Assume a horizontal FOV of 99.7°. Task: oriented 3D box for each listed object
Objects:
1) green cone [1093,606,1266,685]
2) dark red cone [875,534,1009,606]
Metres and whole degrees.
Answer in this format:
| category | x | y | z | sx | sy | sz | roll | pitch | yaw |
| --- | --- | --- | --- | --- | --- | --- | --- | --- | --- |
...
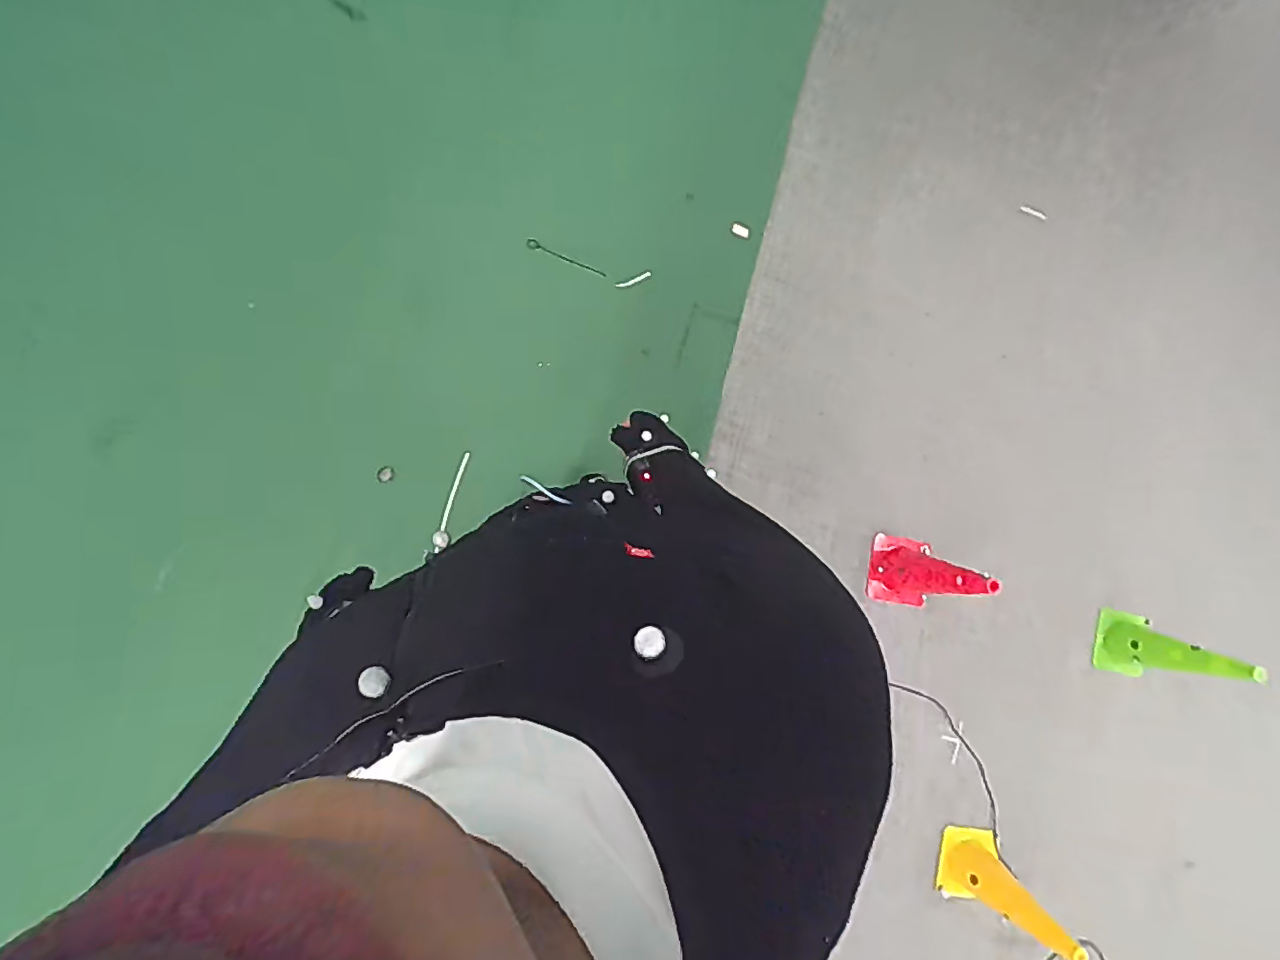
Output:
| category | x | y | z | sx | sy | sz | roll | pitch | yaw |
| --- | --- | --- | --- | --- | --- | --- | --- | --- | --- |
| green cone | 1.618 | 0.525 | 1.613 | 0.200 | 0.368 | 0.202 | 14 | 86 | -9 |
| dark red cone | 0.826 | 0.265 | 1.461 | 0.201 | 0.394 | 0.202 | 10 | 86 | -8 |
